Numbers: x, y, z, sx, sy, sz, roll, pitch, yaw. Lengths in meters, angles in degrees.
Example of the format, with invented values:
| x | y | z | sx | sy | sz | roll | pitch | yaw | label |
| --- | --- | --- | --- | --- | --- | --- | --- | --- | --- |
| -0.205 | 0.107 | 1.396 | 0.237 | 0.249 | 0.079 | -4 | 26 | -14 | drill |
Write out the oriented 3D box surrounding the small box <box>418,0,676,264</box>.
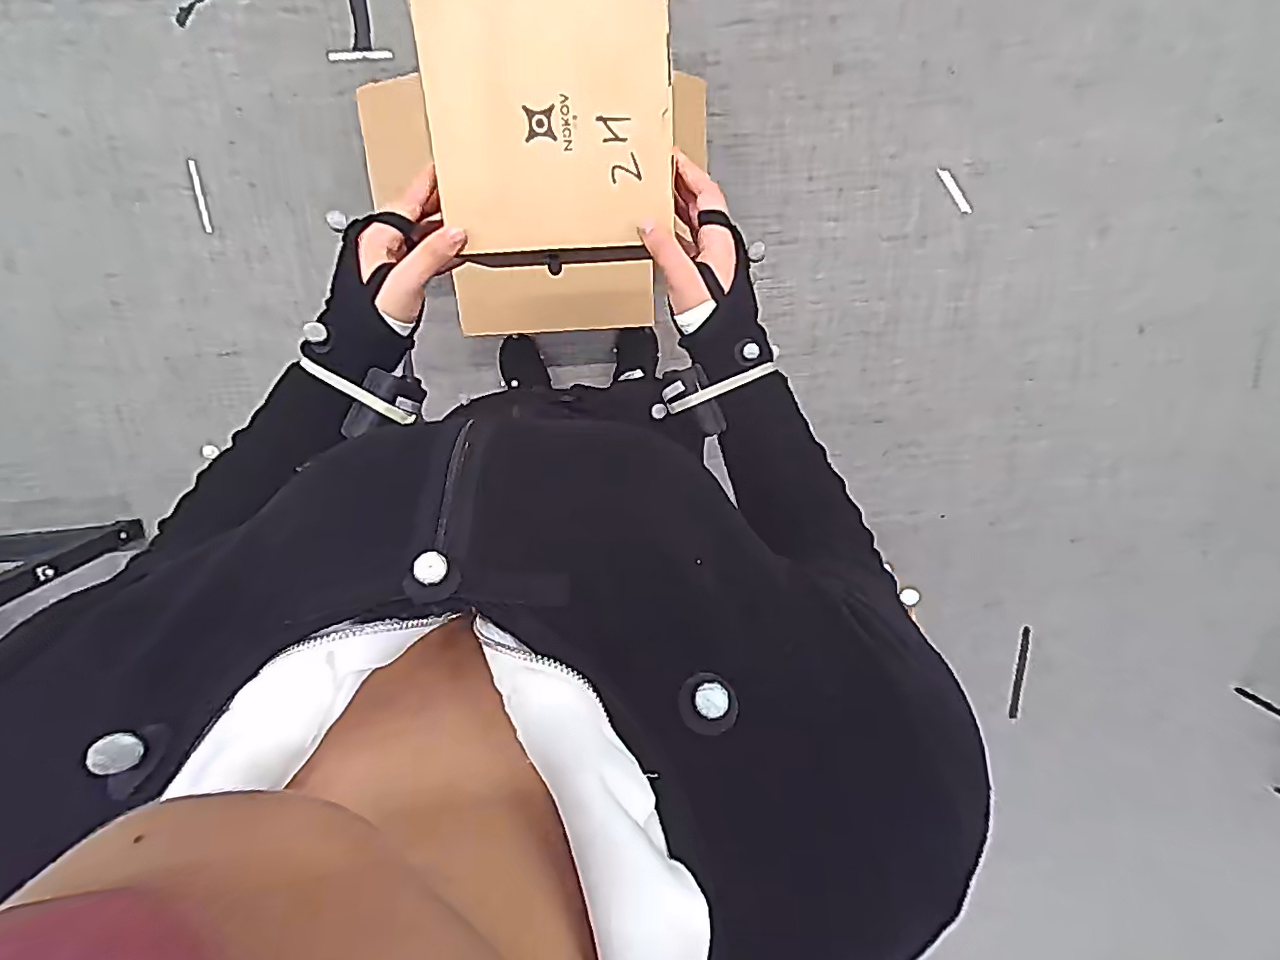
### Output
| x | y | z | sx | sy | sz | roll | pitch | yaw | label |
| --- | --- | --- | --- | --- | --- | --- | --- | --- | --- |
| -0.067 | -0.283 | 0.469 | 0.179 | 0.176 | 0.168 | -4 | 109 | -3 | small box |
